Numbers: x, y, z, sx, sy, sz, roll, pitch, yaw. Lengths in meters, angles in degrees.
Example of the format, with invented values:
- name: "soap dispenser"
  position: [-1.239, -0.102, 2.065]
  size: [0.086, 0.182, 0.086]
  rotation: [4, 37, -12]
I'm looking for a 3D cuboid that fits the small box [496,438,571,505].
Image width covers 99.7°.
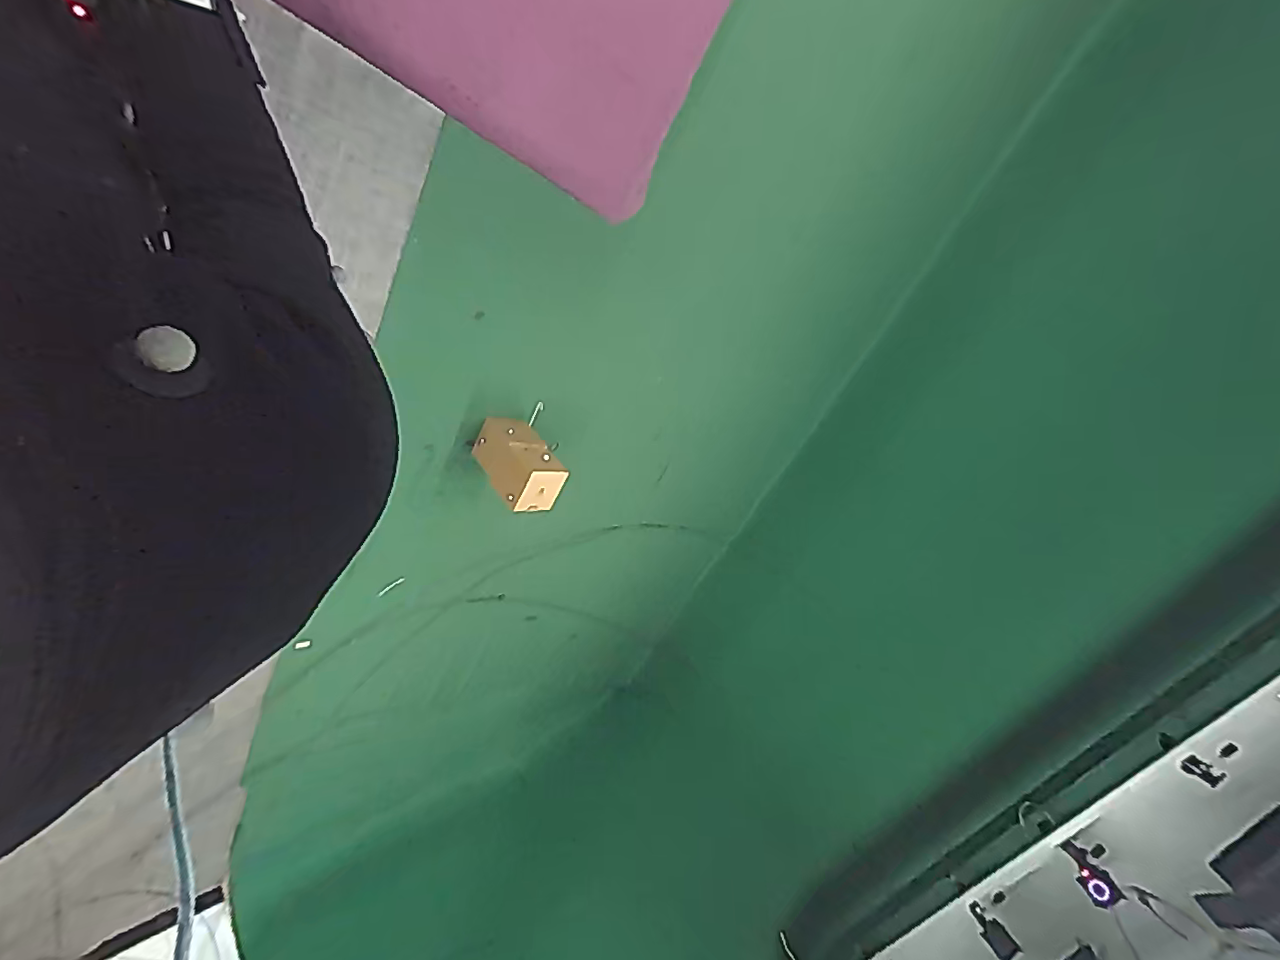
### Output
- name: "small box"
  position: [-0.383, -0.031, 1.913]
  size: [0.168, 0.176, 0.179]
  rotation: [0, 129, -50]
